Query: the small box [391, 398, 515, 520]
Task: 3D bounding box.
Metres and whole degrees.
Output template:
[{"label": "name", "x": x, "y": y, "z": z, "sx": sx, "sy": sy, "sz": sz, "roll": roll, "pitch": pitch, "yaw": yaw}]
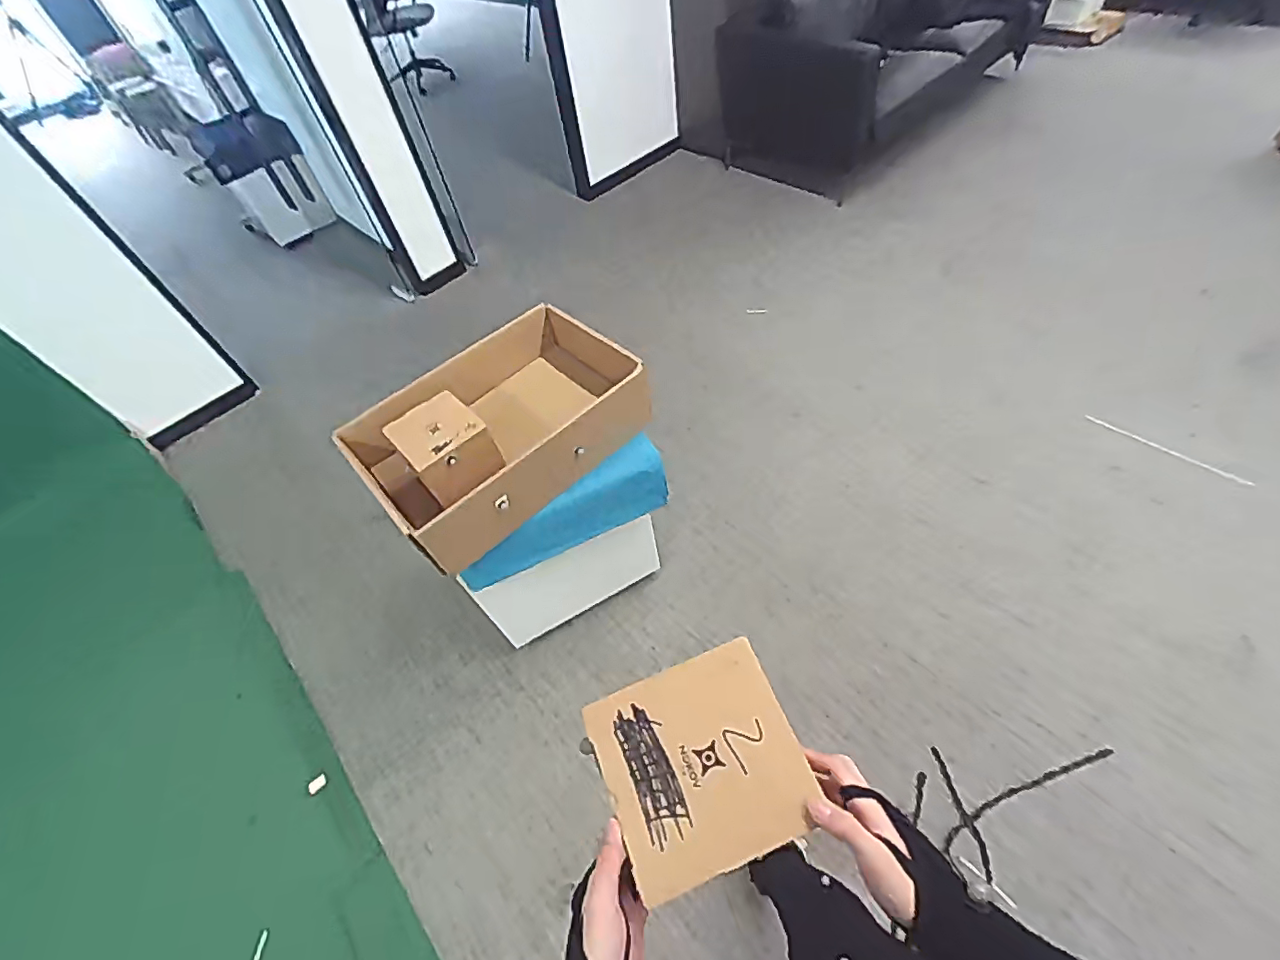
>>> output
[{"label": "small box", "x": -0.409, "y": -0.043, "z": 1.197, "sx": 0.168, "sy": 0.176, "sz": 0.179, "roll": -39, "pitch": 55, "yaw": -20}]
